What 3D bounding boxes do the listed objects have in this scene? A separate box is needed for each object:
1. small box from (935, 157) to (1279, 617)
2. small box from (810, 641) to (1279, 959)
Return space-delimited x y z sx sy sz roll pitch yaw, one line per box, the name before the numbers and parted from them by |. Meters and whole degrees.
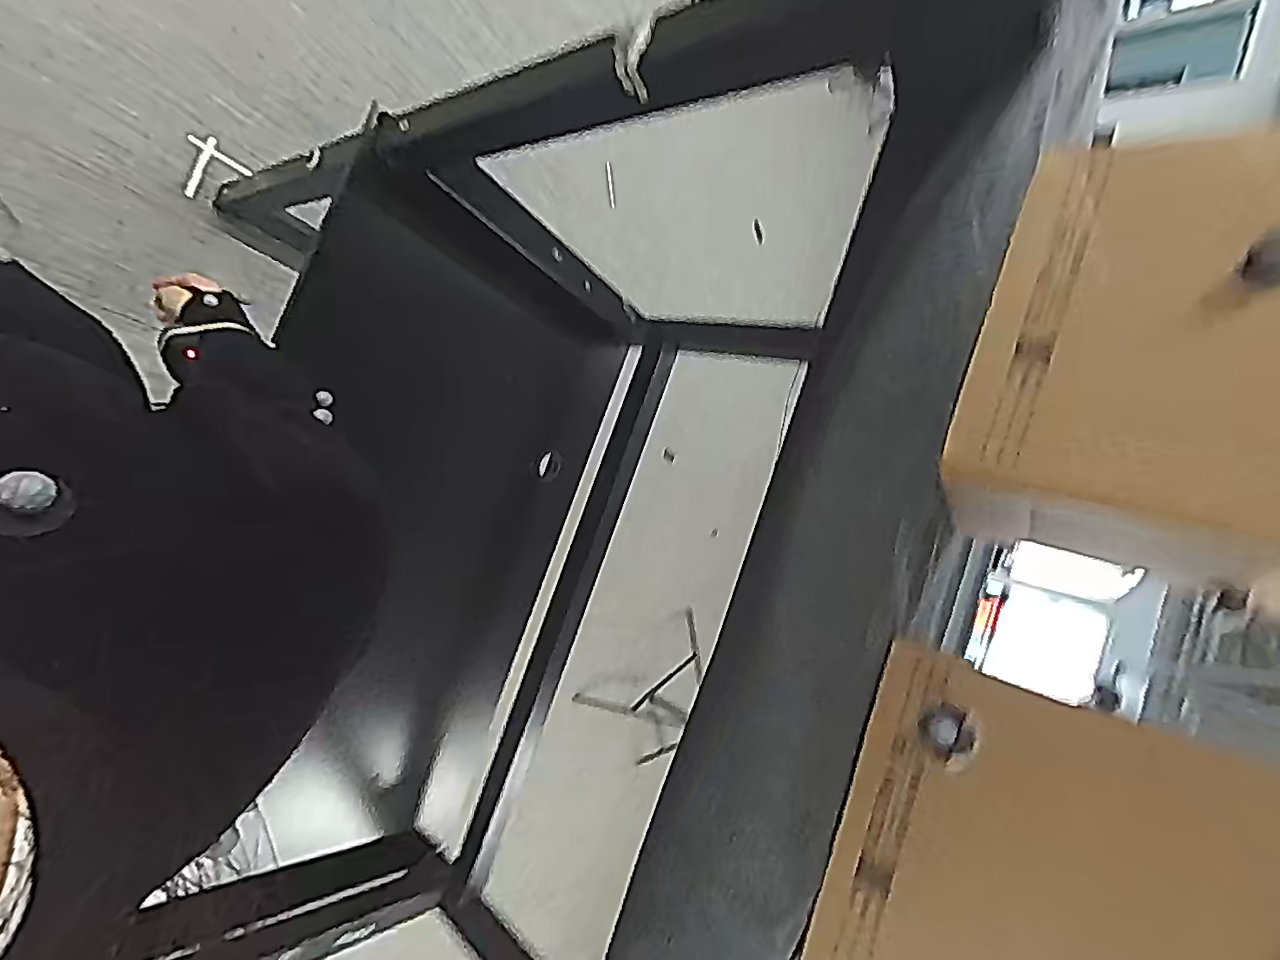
small box | 0.270 -0.040 0.287 0.179 0.176 0.168 26 83 -55
small box | 0.204 0.195 0.284 0.179 0.176 0.168 30 78 -55
